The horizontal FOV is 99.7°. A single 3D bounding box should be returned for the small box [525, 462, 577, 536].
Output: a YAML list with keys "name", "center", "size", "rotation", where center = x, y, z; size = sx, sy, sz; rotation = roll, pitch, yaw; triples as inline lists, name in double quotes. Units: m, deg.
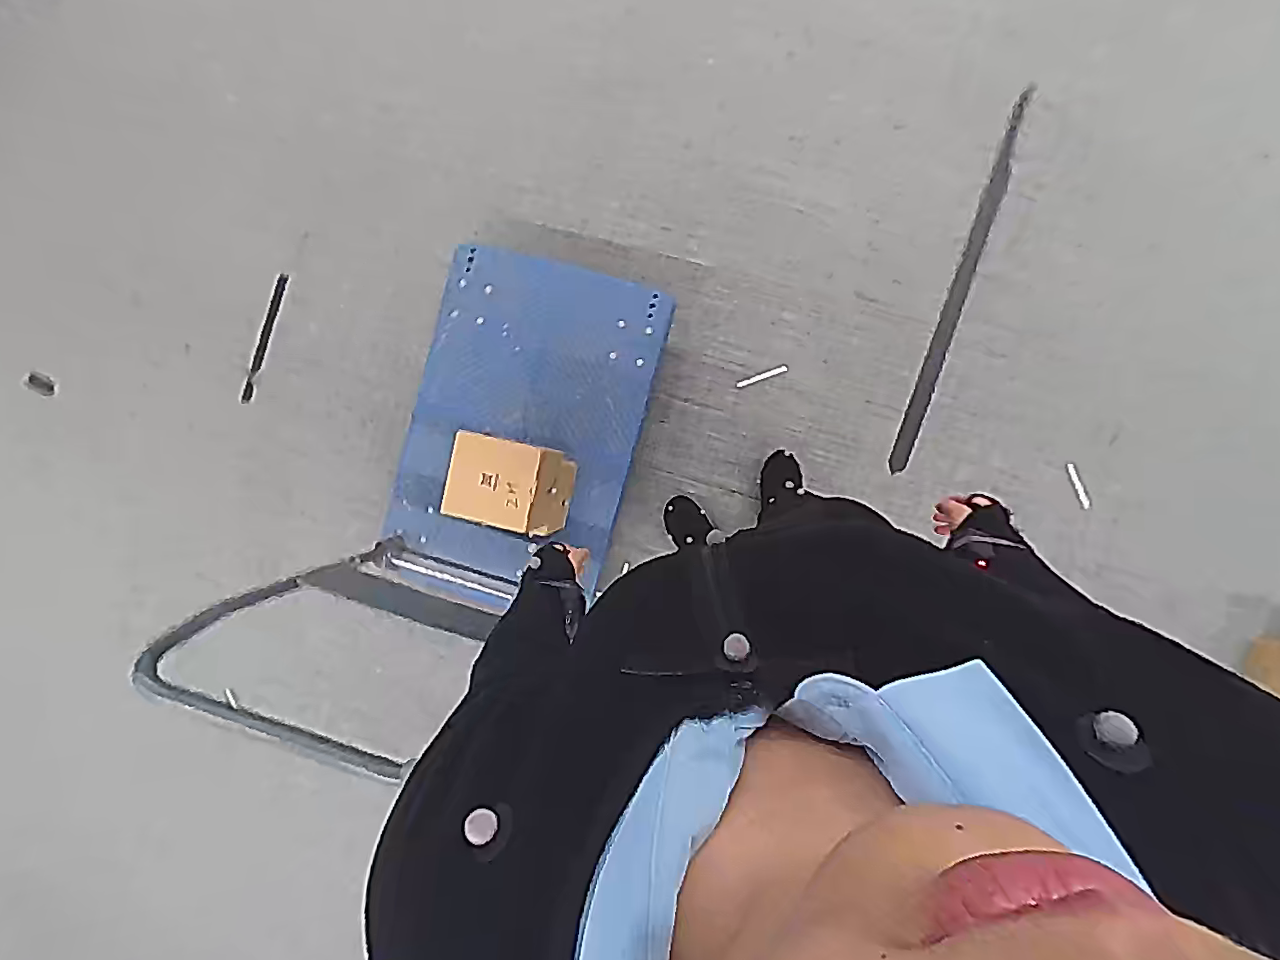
- name: "small box"
  center: [-0.264, 0.026, 1.275]
  size: [0.179, 0.176, 0.168]
  rotation: [12, 92, 5]

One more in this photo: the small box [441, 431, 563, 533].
- name: "small box"
  center: [-0.274, 0.004, 1.110]
  size: [0.179, 0.176, 0.168]
  rotation: [13, 92, 5]
